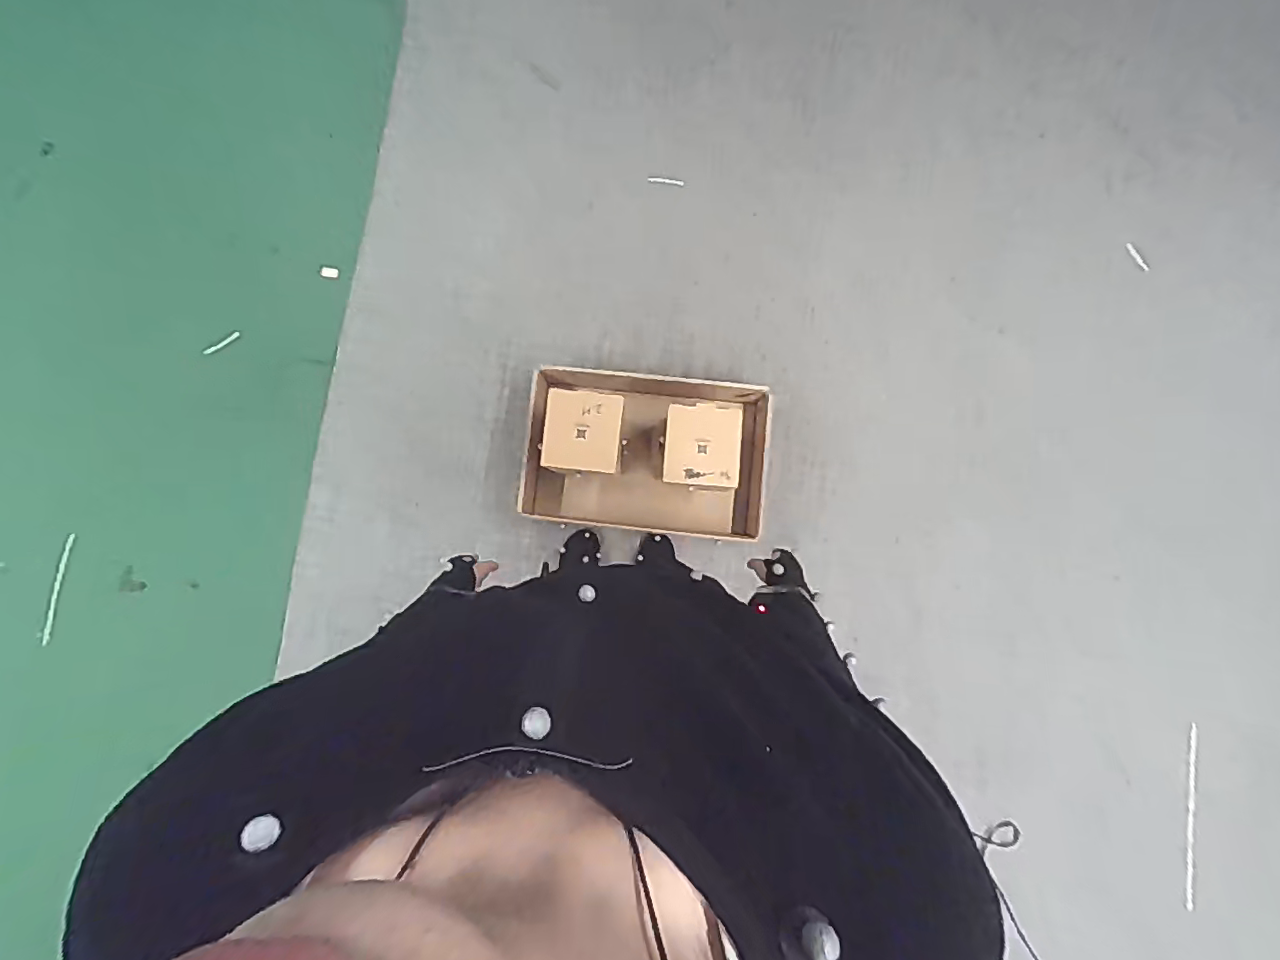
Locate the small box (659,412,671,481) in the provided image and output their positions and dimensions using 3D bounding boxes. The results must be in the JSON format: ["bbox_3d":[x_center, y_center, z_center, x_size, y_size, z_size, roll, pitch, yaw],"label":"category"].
[{"bbox_3d":[0.140,-0.079,1.417,0.179,0.176,0.168,1,86,0],"label":"small box"}]

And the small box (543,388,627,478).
[{"bbox_3d":[-0.121,-0.102,1.258,0.168,0.176,0.179,7,86,0],"label":"small box"}]

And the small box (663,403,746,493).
[{"bbox_3d":[0.143,-0.068,1.253,0.168,0.176,0.179,5,85,1],"label":"small box"}]
